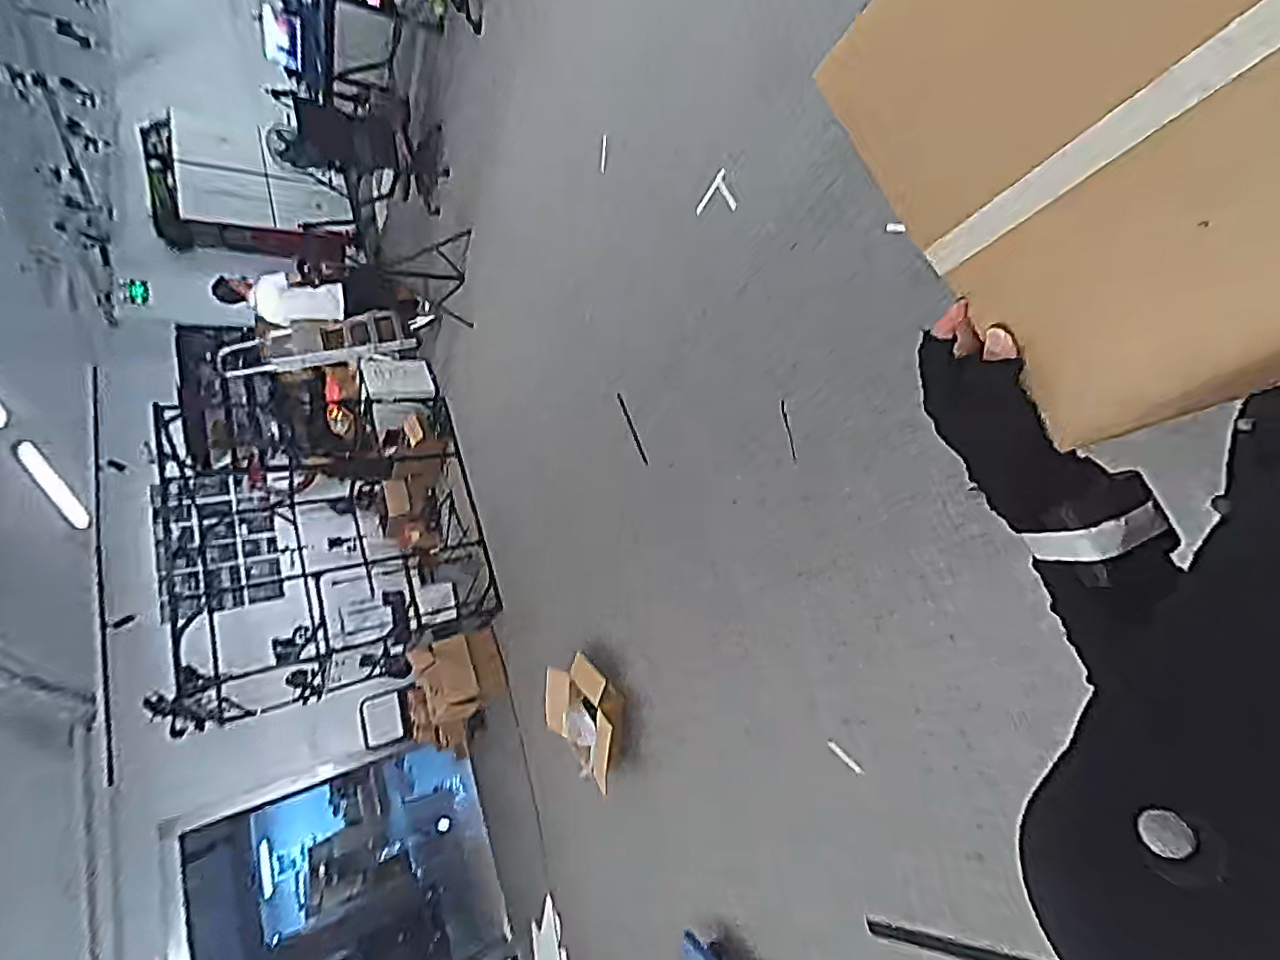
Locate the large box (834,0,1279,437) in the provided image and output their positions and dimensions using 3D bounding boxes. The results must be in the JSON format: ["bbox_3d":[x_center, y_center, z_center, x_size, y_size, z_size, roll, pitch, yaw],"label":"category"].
[{"bbox_3d":[0.411,-0.281,0.306,0.320,0.320,0.408,58,146,1],"label":"large box"}]
